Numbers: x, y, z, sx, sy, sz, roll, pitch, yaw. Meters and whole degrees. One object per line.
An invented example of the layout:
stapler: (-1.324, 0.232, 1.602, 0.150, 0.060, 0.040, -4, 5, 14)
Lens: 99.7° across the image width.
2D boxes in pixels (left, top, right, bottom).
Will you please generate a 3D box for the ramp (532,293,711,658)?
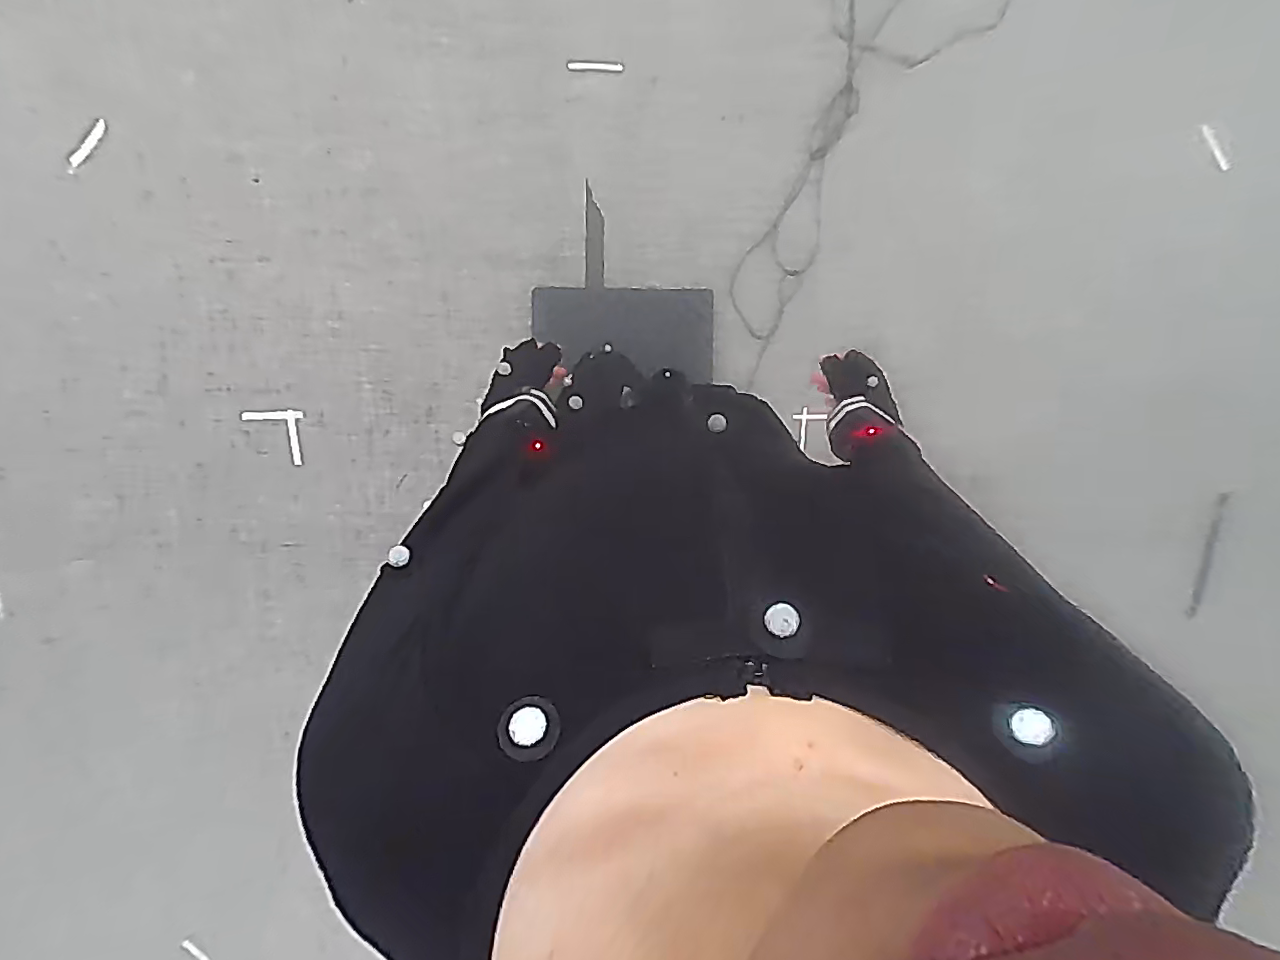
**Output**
ramp: (-0.052, -0.011, 1.483, 0.509, 0.206, 0.991, -1, 101, 1)
